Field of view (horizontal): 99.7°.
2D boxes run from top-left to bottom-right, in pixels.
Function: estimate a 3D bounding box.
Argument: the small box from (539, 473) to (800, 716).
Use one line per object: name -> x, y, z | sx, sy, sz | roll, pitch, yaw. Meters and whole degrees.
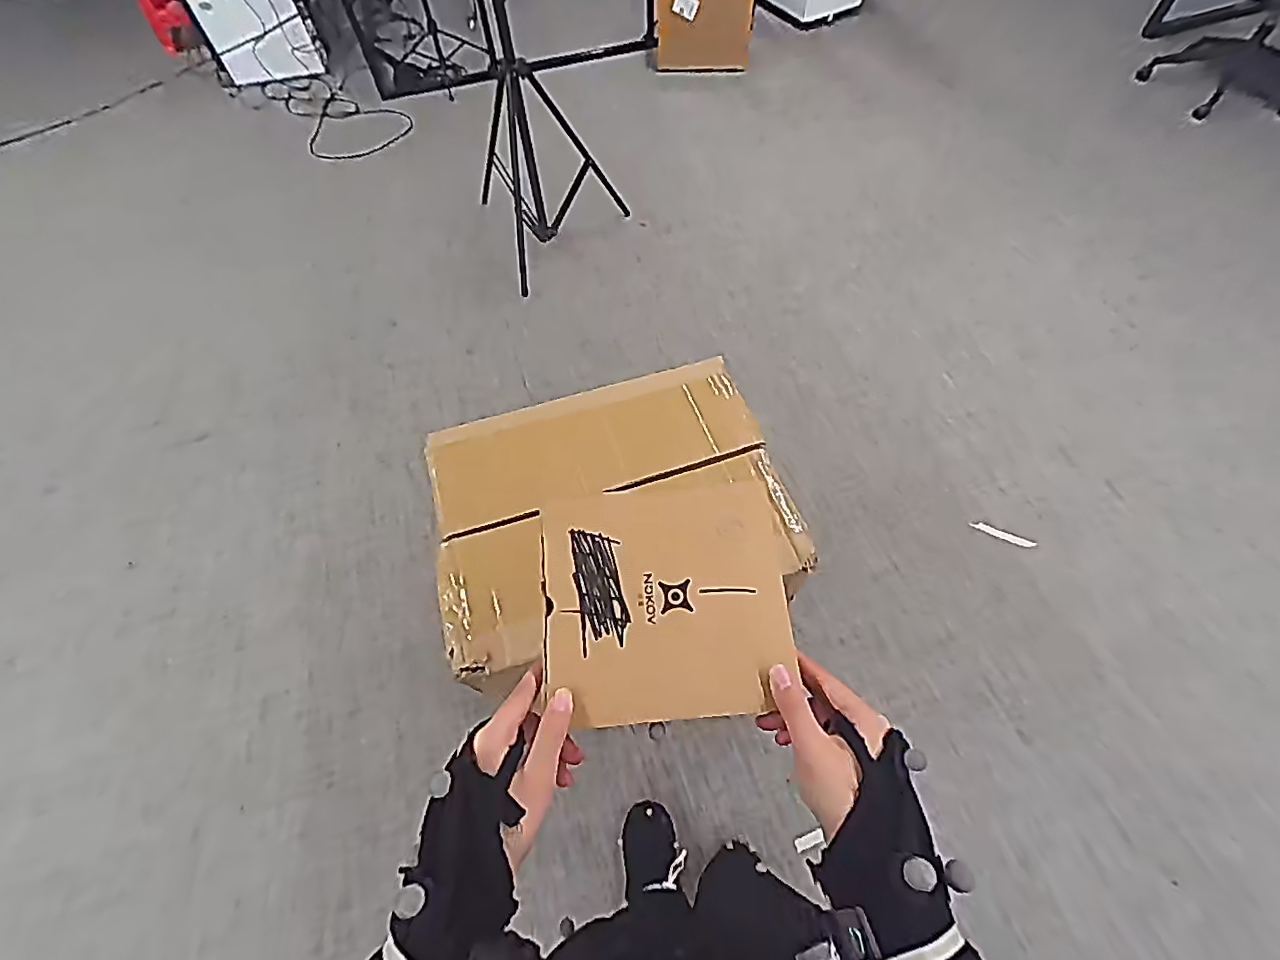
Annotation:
small box -> 0.017, 0.106, 0.463 | 0.179, 0.176, 0.168 | -5, 69, -1
